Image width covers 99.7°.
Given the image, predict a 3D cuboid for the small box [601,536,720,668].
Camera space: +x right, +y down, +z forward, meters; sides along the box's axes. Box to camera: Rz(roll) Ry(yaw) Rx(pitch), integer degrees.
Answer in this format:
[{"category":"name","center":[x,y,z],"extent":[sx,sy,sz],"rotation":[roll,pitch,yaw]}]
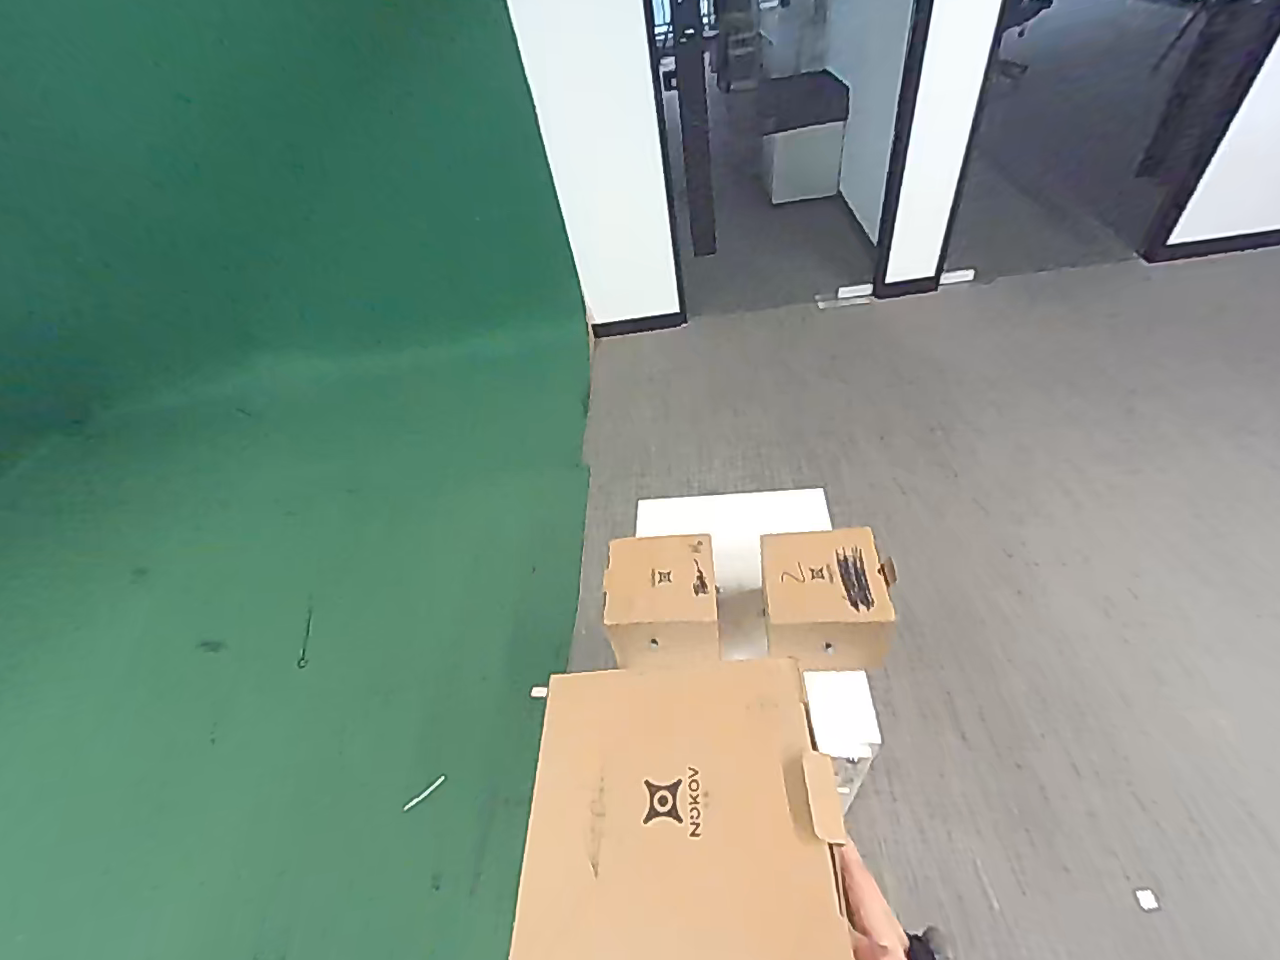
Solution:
[{"category":"small box","center":[0.042,0.214,0.920],"extent":[0.179,0.176,0.168],"rotation":[-4,47,7]}]

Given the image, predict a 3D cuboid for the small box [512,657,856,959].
[{"category":"small box","center":[0.038,0.241,0.374],"extent":[0.179,0.176,0.168],"rotation":[-9,45,12]}]
